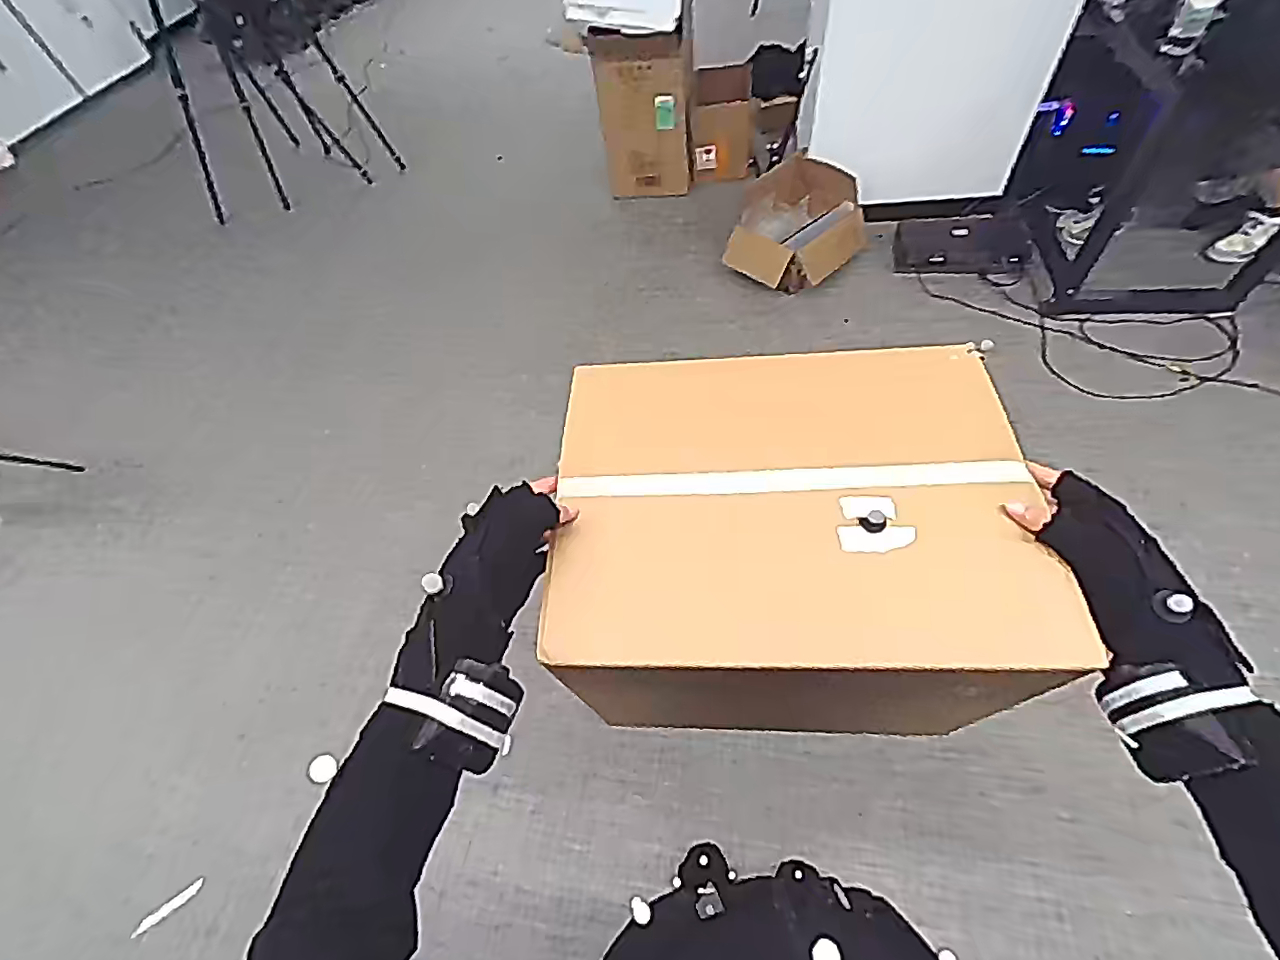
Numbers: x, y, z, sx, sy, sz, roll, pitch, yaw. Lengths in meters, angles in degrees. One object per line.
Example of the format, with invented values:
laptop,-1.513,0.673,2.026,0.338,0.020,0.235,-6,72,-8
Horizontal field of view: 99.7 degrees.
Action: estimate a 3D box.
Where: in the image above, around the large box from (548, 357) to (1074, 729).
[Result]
large box,0.139,0.091,0.616,0.408,0.320,0.320,-2,57,6
